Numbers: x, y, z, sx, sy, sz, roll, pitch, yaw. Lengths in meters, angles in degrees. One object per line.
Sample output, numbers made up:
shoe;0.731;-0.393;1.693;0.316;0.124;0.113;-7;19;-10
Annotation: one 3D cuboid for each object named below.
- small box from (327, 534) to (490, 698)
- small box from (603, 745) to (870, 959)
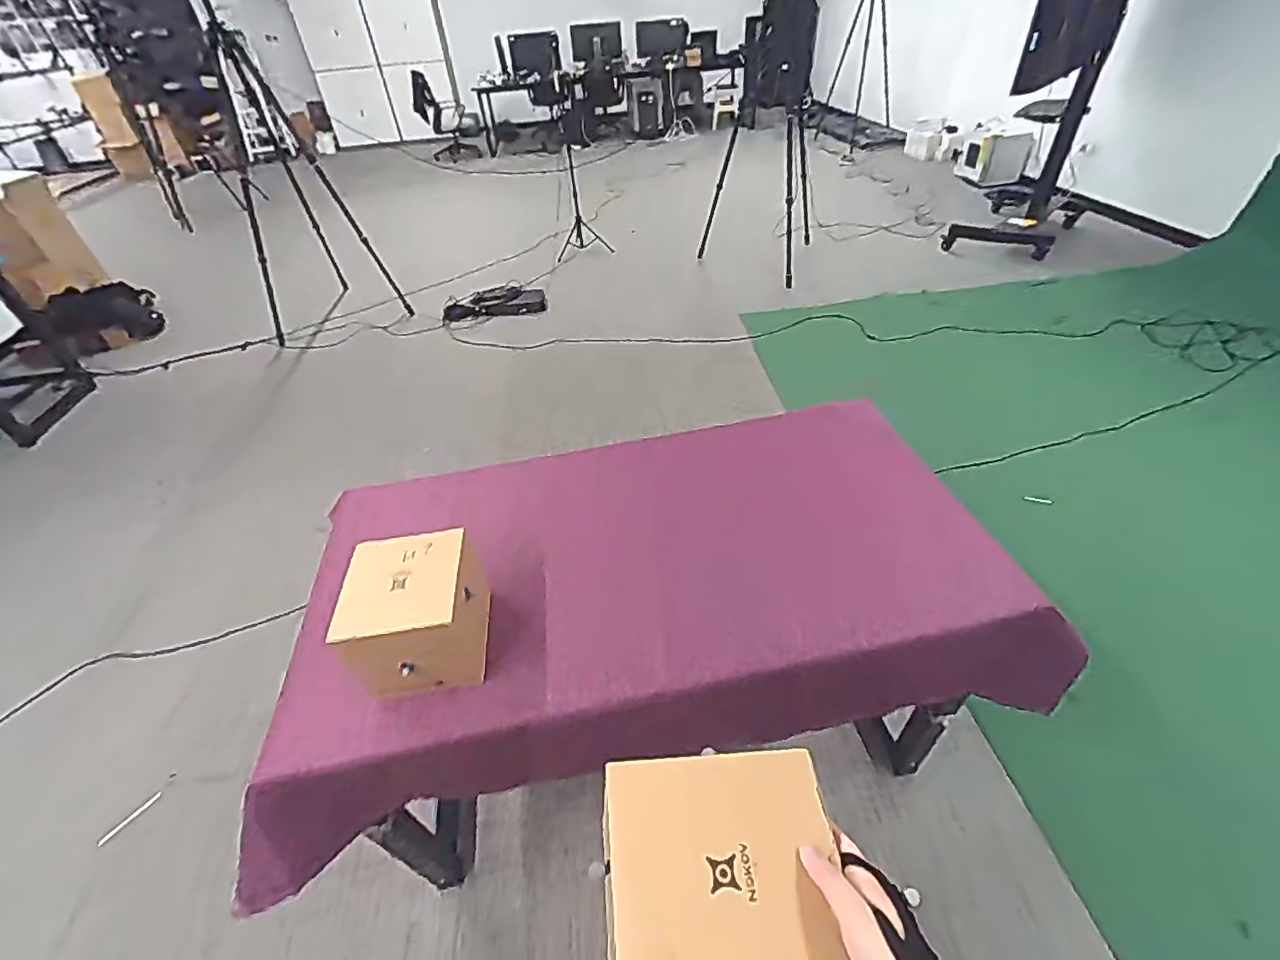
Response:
small box;-0.333;0.210;0.821;0.168;0.176;0.179;-8;42;-4
small box;0.059;0.342;0.452;0.179;0.176;0.168;-1;44;-7
